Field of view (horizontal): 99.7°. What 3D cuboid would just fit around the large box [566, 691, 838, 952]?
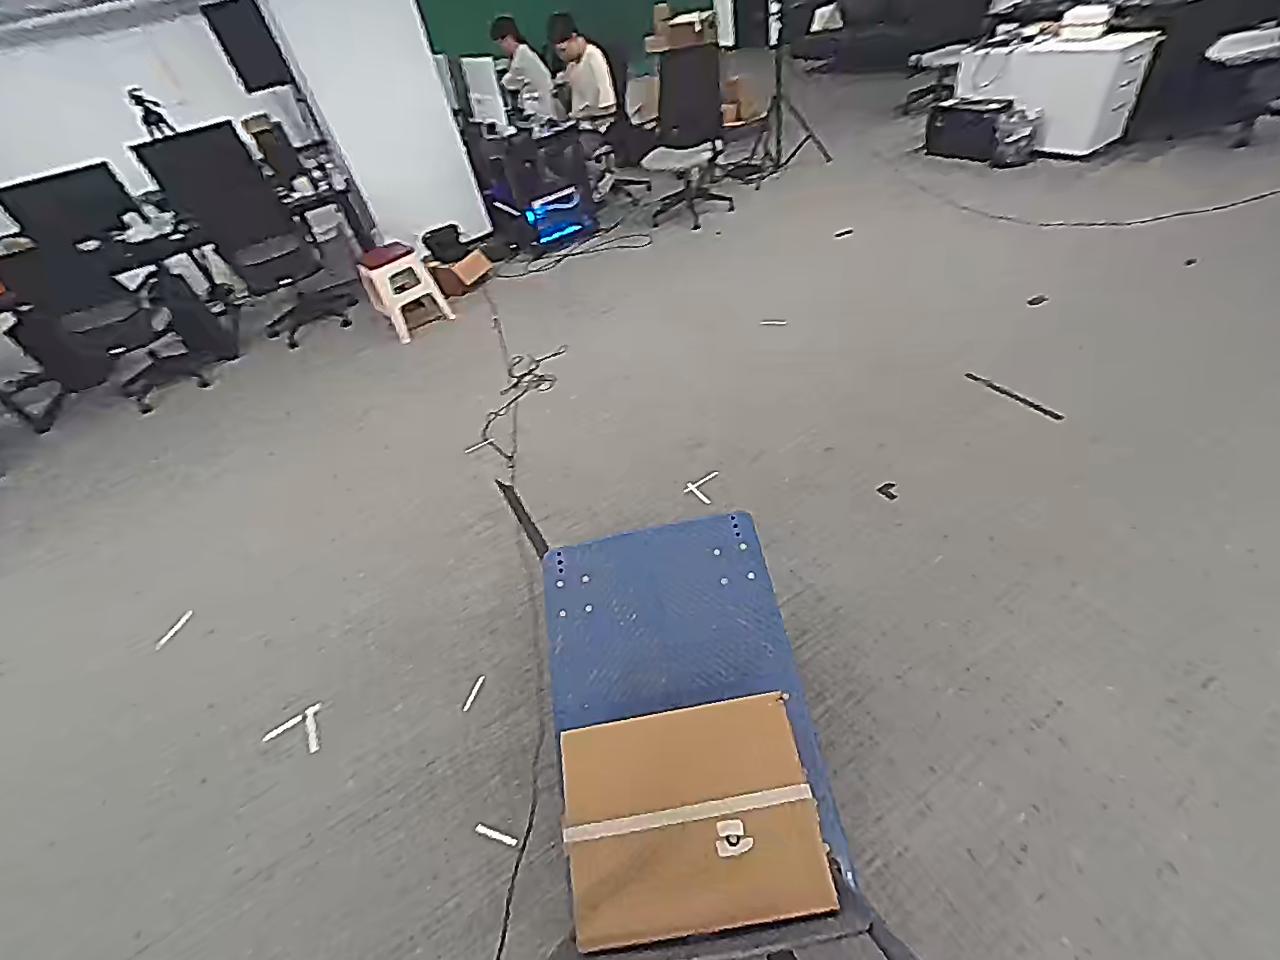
[{"bbox_3d":[0.103,0.627,1.030,0.408,0.320,0.320,-12,61,1],"label":"large box"}]
